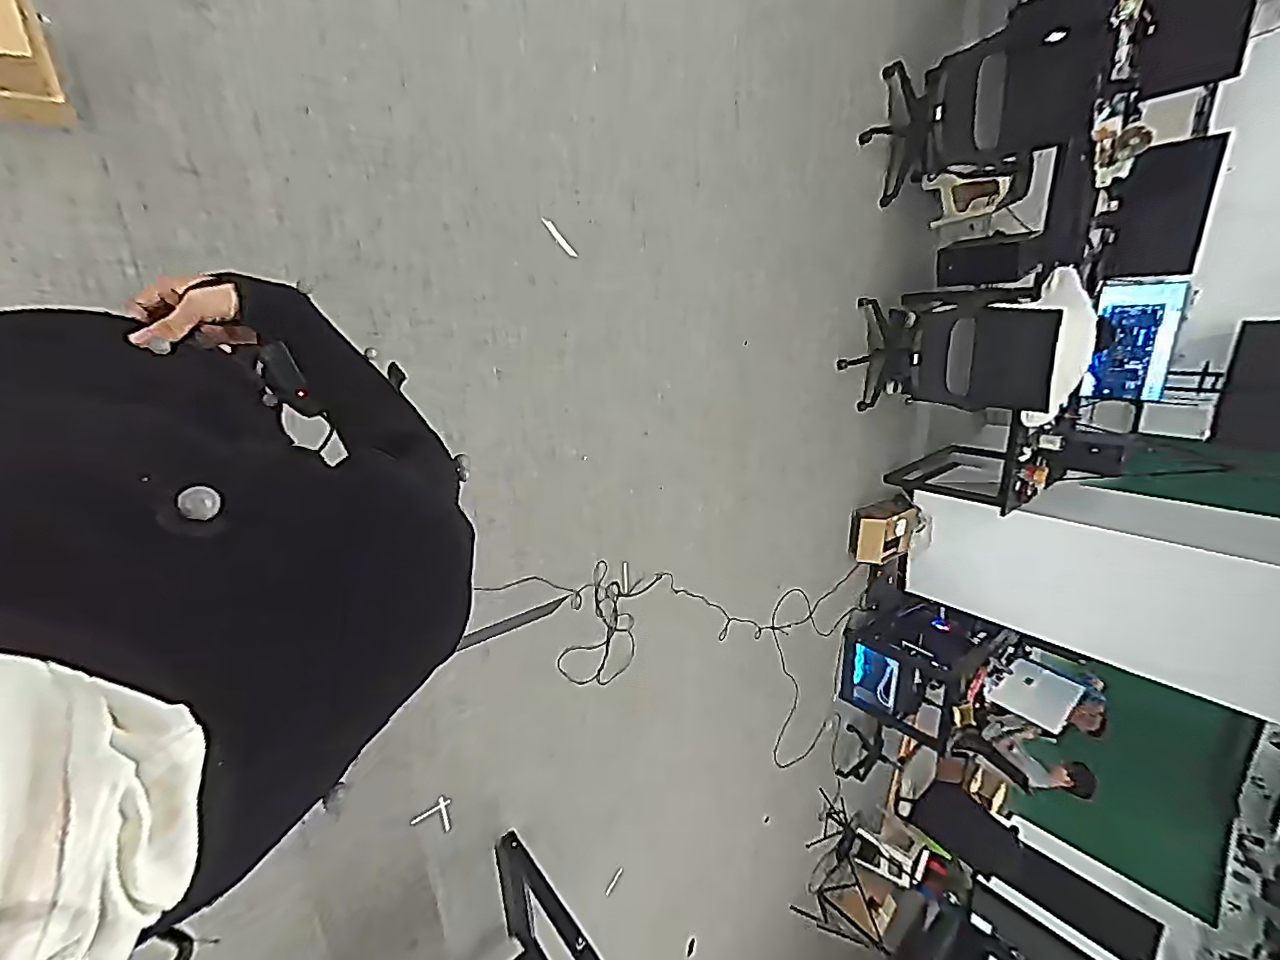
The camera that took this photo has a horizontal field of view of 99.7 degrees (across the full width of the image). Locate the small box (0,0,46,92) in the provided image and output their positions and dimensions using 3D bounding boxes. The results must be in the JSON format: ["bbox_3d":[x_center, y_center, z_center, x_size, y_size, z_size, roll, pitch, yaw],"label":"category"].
[{"bbox_3d":[-1.035,-0.708,0.798,0.168,0.176,0.179,-19,112,-36],"label":"small box"}]

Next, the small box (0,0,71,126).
[{"bbox_3d":[-1.131,-0.736,0.929,0.168,0.176,0.179,-19,112,-36],"label":"small box"}]
